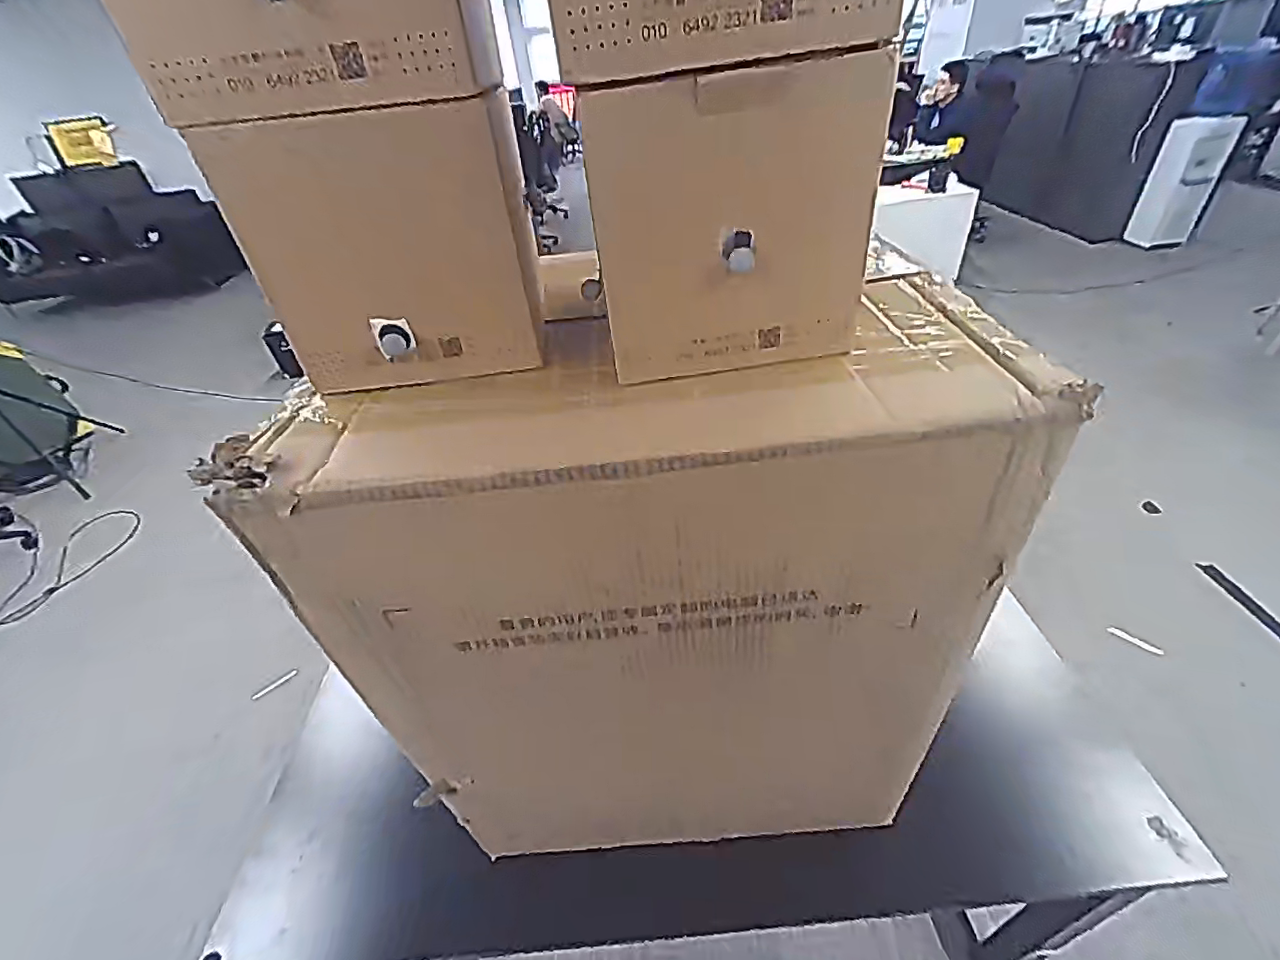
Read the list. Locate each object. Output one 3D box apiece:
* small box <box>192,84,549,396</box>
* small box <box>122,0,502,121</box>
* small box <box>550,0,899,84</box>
[{"bbox_3d":[-0.166,-0.184,0.407,0.168,0.176,0.179,-9,40,-3],"label":"small box"},{"bbox_3d":[-0.182,-0.311,0.303,0.168,0.176,0.179,-8,39,-1],"label":"small box"},{"bbox_3d":[0.029,-0.313,0.272,0.168,0.176,0.179,-8,39,1],"label":"small box"}]
